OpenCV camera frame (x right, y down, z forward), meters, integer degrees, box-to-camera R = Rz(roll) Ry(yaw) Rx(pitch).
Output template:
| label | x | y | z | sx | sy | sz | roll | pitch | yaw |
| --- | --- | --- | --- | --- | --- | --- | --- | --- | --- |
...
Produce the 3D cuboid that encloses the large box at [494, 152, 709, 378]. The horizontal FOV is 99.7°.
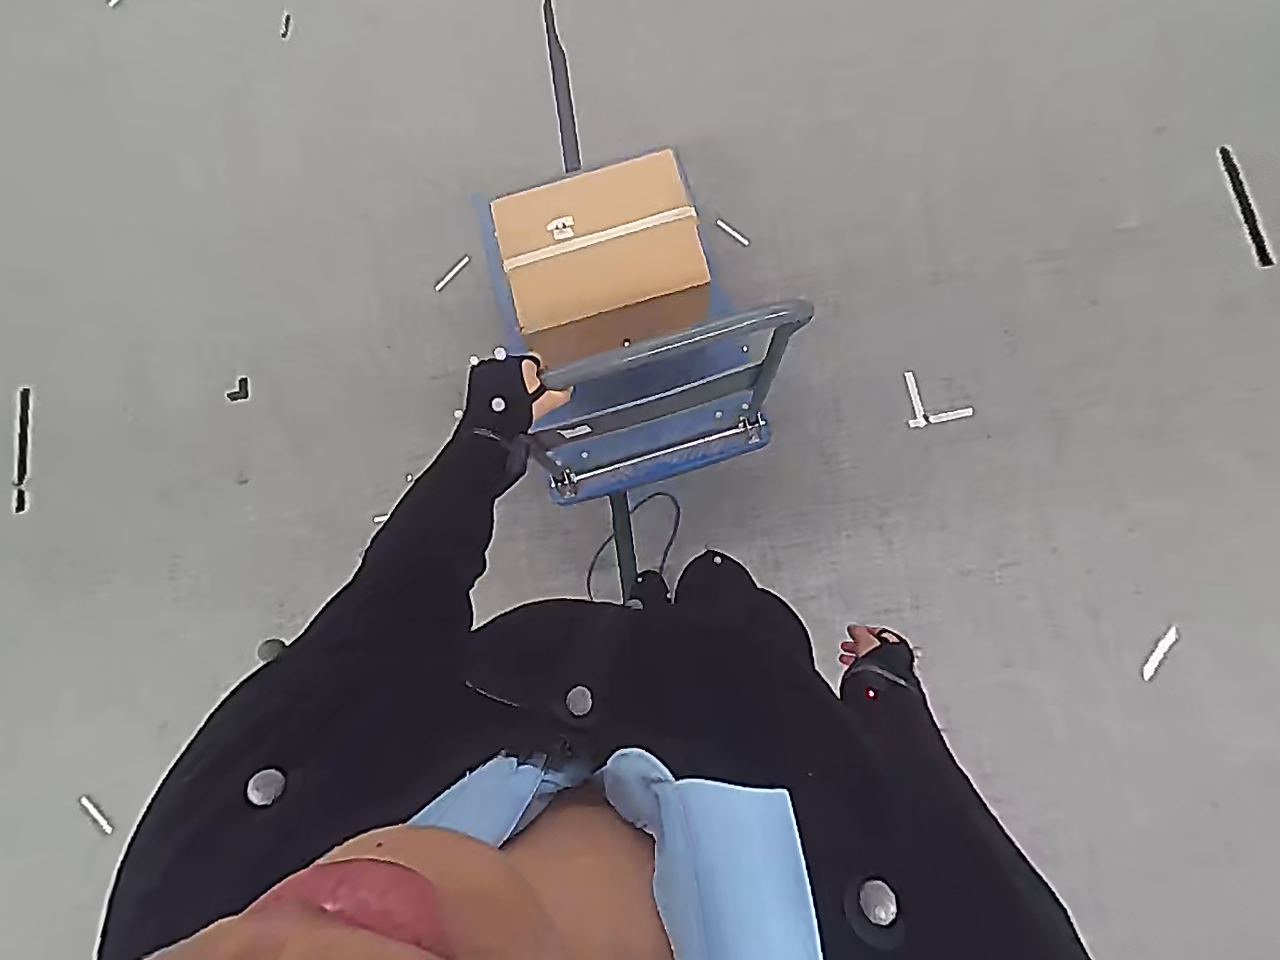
| label | x | y | z | sx | sy | sz | roll | pitch | yaw |
| --- | --- | --- | --- | --- | --- | --- | --- | --- | --- |
| large box | -0.074 | -0.479 | 1.281 | 0.408 | 0.320 | 0.320 | -16 | 80 | 3 |
